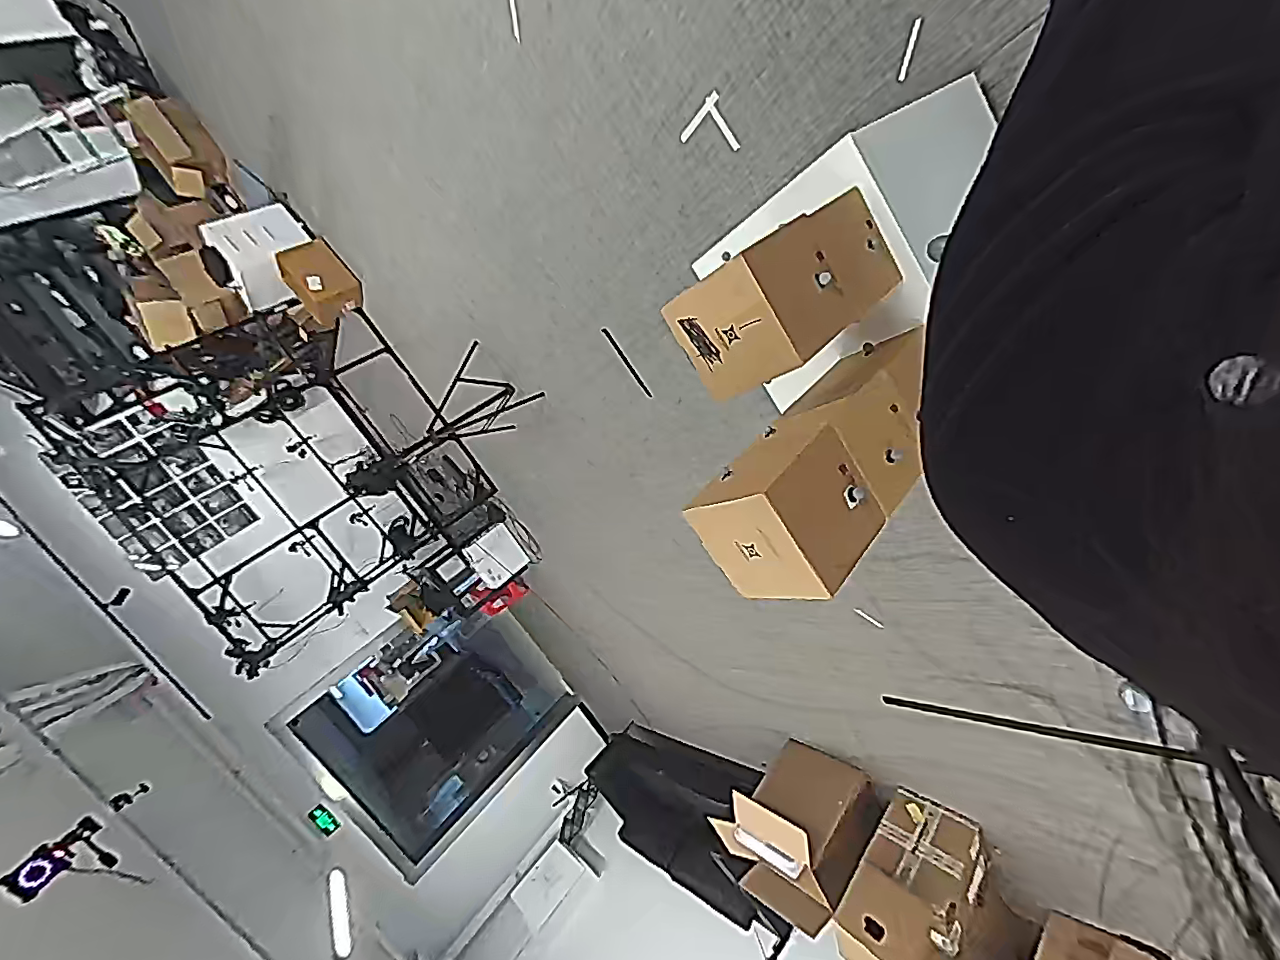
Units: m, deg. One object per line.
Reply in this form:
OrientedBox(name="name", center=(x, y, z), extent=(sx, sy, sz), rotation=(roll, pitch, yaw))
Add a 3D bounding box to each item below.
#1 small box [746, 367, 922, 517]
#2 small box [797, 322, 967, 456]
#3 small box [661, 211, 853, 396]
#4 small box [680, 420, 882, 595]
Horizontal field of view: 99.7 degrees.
OrientedBox(name="small box", center=(0.305, -0.049, 0.837), extent=(0.168, 0.176, 0.179), rotation=(55, 150, -10))
OrientedBox(name="small box", center=(0.412, -0.140, 0.921), extent=(0.168, 0.176, 0.179), rotation=(56, 150, -11))
OrientedBox(name="small box", center=(0.170, -0.250, 0.783), extent=(0.168, 0.176, 0.179), rotation=(56, 148, -12))
OrientedBox(name="small box", center=(0.197, 0.041, 0.757), extent=(0.168, 0.176, 0.179), rotation=(54, 149, -10))
